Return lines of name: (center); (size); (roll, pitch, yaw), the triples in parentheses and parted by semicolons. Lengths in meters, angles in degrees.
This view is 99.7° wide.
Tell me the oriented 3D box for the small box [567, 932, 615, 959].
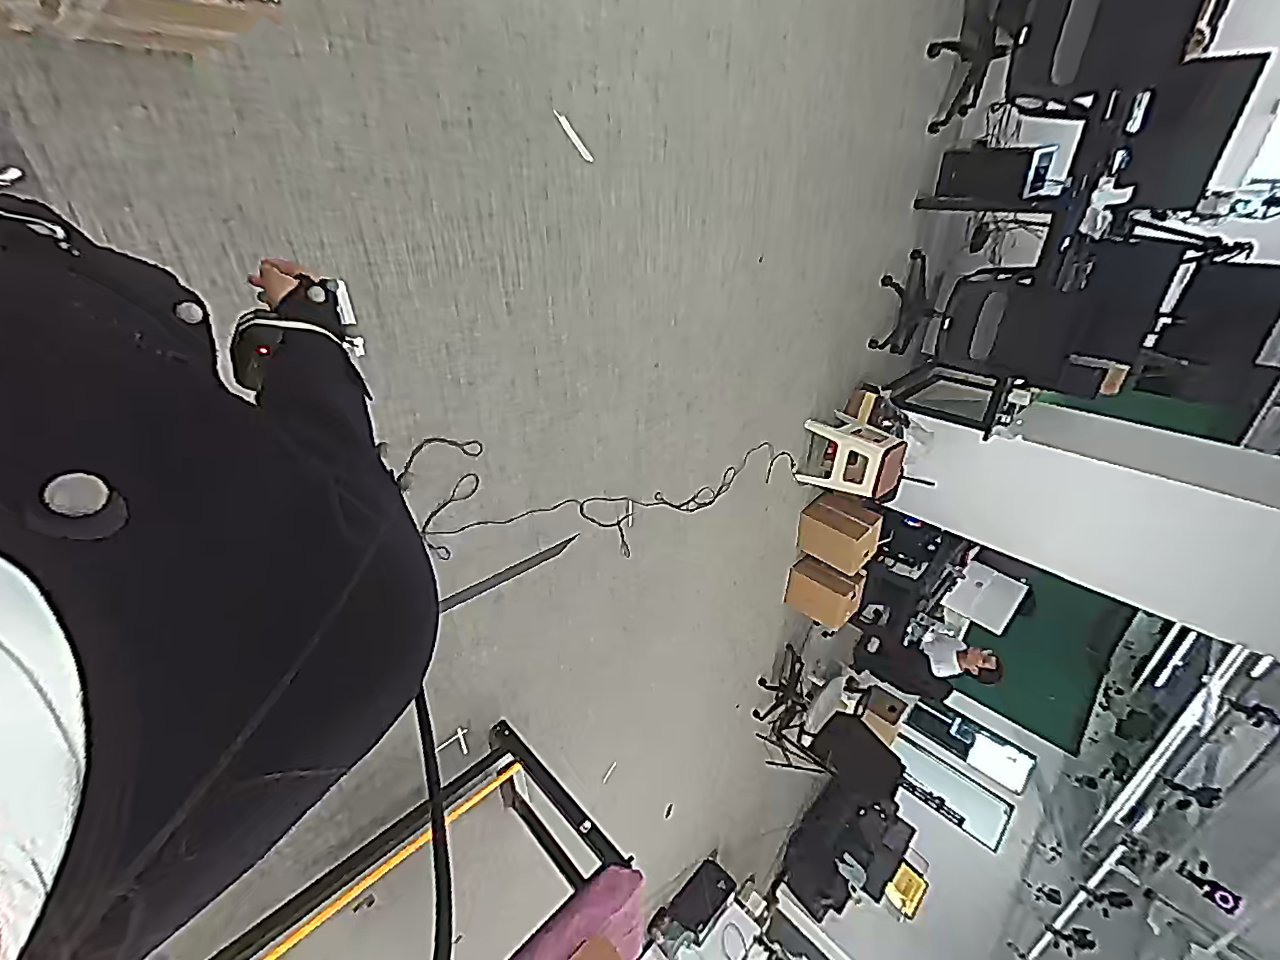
small box: (-0.147, 1.523, 1.614); (0.179, 0.176, 0.168); (-26, 129, -35)
